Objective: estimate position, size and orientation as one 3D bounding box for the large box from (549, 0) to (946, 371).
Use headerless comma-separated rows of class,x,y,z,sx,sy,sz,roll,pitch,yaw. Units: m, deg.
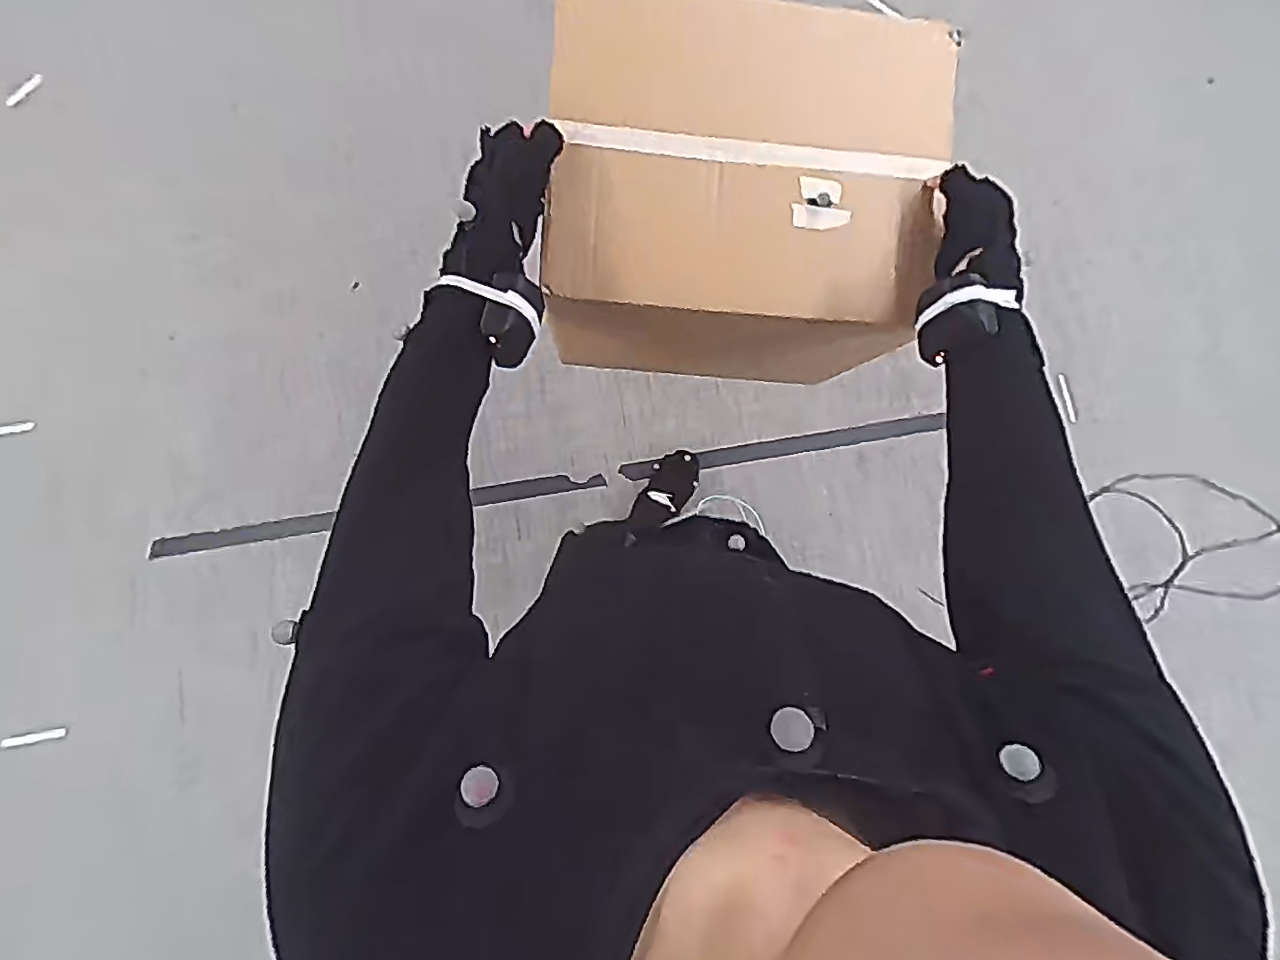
large box,0.100,-0.333,0.692,0.408,0.320,0.320,4,90,-5
